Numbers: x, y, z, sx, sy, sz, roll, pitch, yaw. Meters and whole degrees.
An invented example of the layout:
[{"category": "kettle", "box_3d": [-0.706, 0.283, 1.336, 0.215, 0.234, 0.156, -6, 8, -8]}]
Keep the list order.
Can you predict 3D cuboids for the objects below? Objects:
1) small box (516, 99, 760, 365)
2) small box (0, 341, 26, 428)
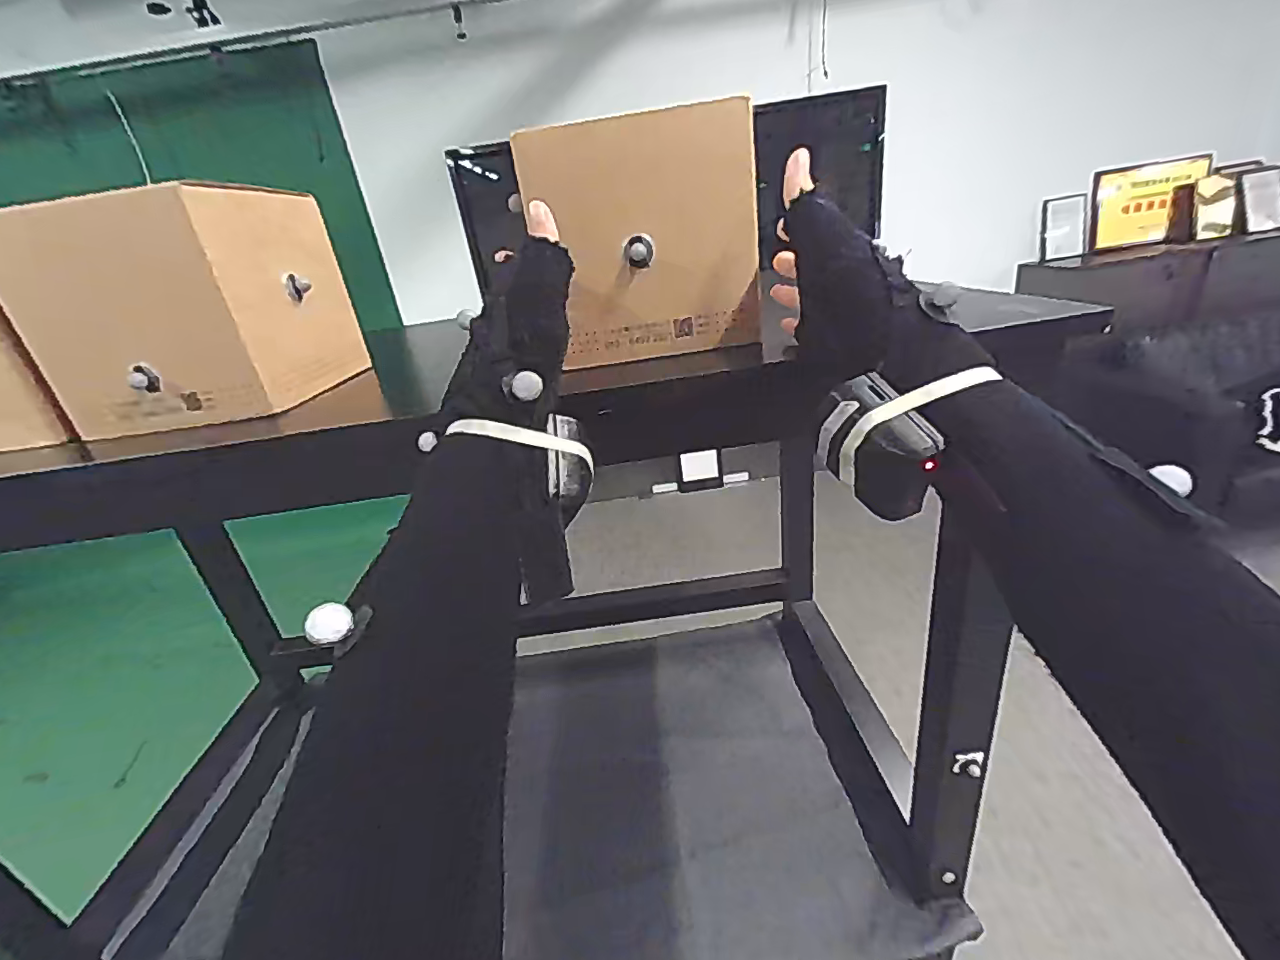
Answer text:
[{"category": "small box", "box_3d": [0.005, -0.203, 0.471, 0.168, 0.176, 0.179, -7, 25, 2]}, {"category": "small box", "box_3d": [-0.743, -0.102, 0.492, 0.168, 0.176, 0.179, -8, 26, -1]}]
